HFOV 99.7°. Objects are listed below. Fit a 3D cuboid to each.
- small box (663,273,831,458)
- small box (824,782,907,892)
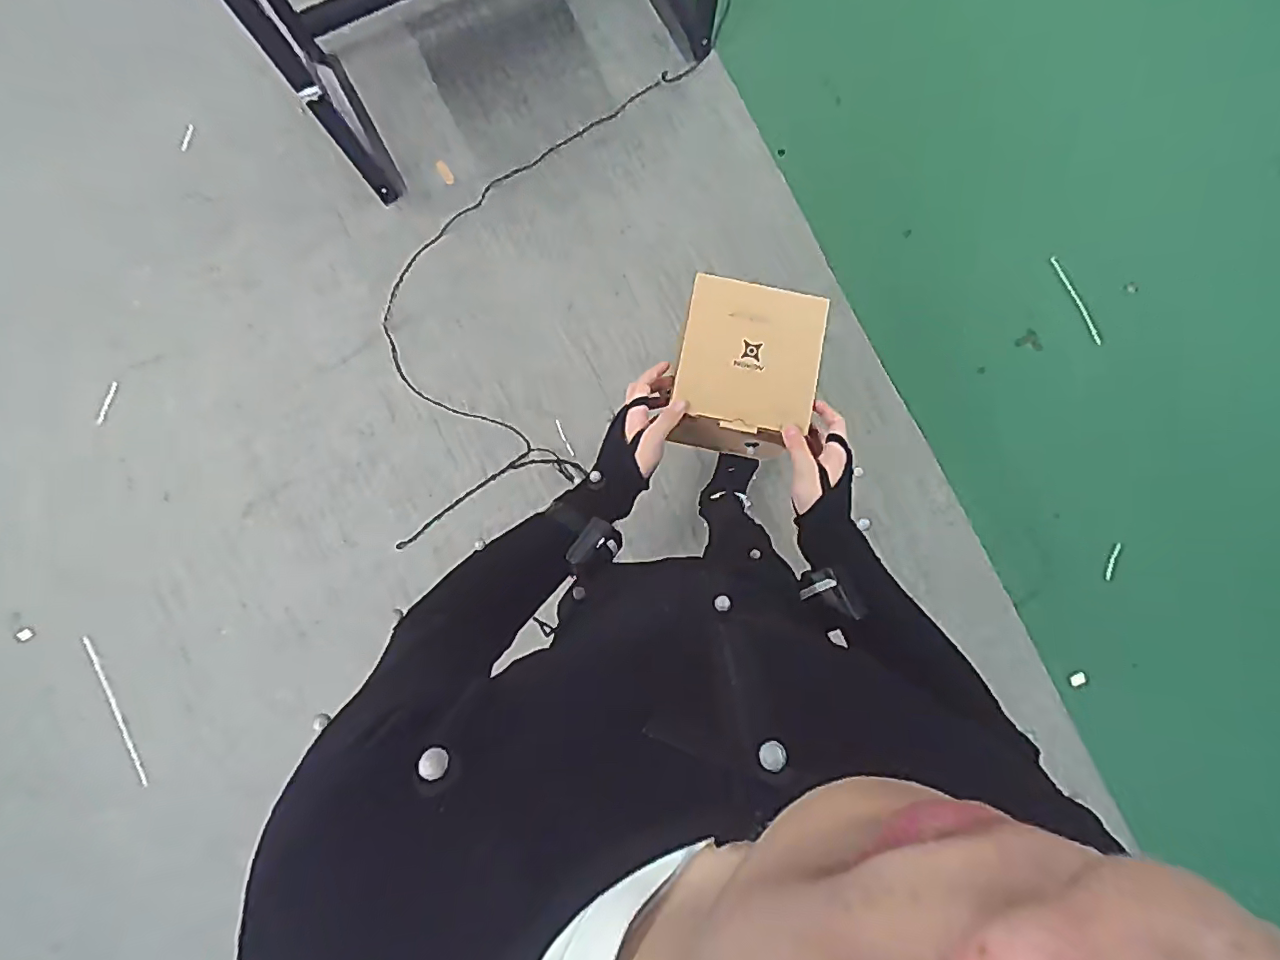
[{"bbox_3d":[0.126,-0.135,0.707,0.168,0.176,0.179,12,83,-1],"label":"small box"},{"bbox_3d":[0.605,0.926,1.424,0.168,0.176,0.179,-13,86,-1],"label":"small box"}]
